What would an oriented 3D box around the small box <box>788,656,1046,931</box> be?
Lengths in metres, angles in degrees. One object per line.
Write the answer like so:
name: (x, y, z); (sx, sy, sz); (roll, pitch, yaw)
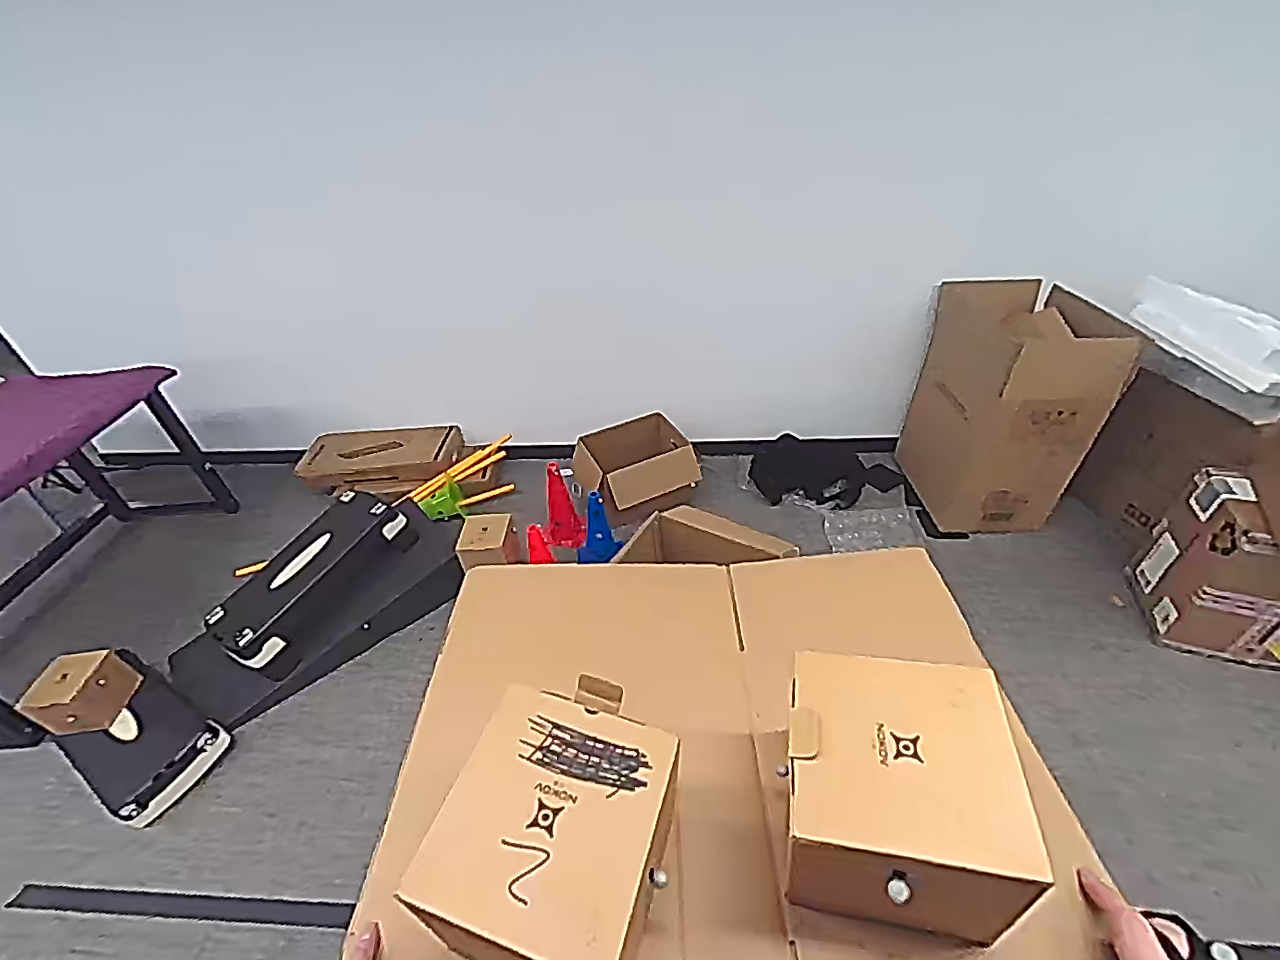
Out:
small box: (0.232, 0.291, 0.508); (0.179, 0.176, 0.168); (0, 40, 16)
